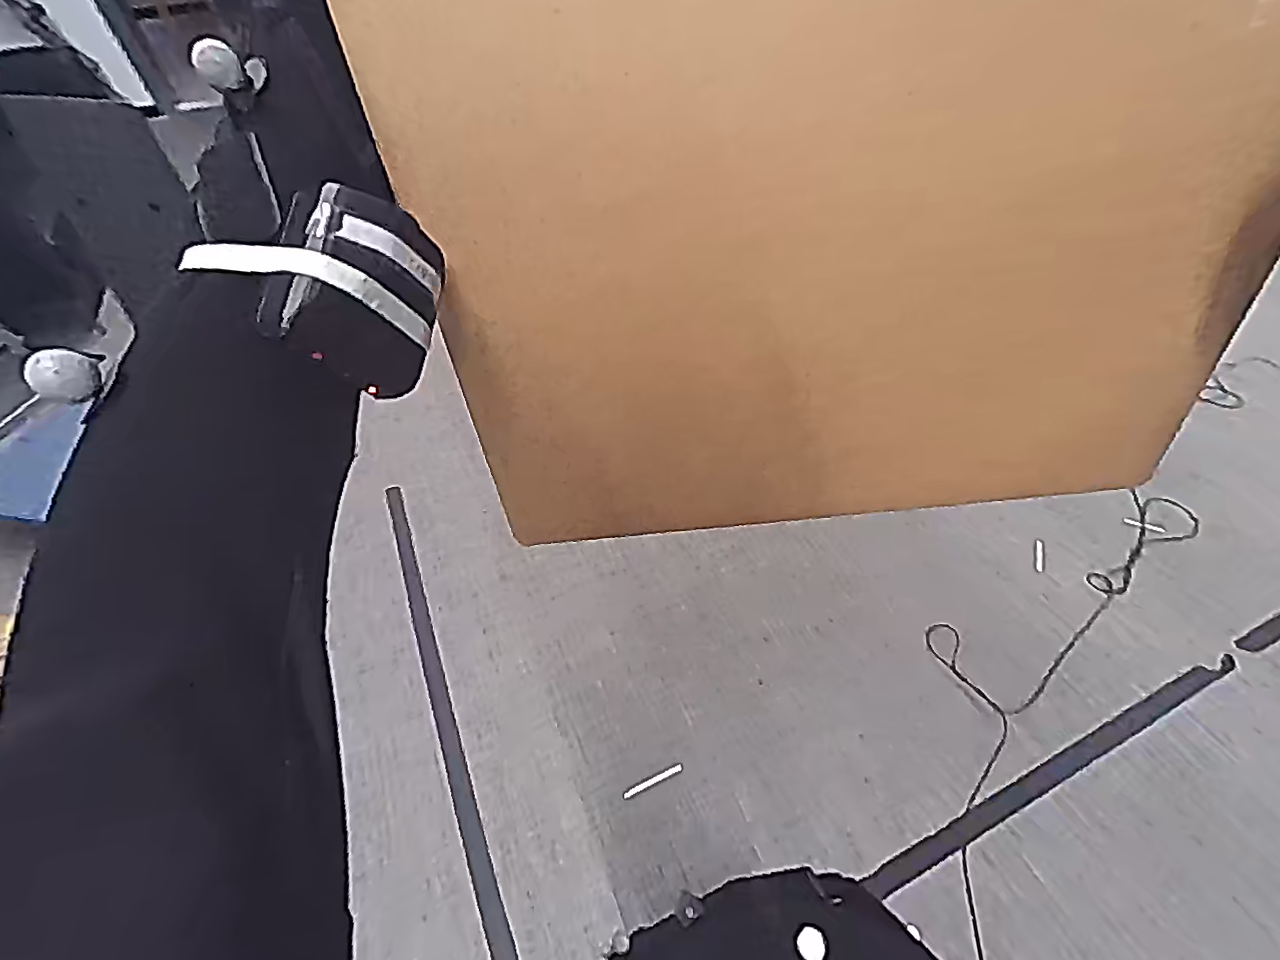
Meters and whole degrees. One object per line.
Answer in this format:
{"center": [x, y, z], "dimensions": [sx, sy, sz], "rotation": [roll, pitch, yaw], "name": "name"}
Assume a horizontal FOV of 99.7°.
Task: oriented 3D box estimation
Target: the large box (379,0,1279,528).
{"center": [0.100, -0.192, 0.389], "dimensions": [0.408, 0.320, 0.320], "rotation": [-5, 38, 2], "name": "large box"}
